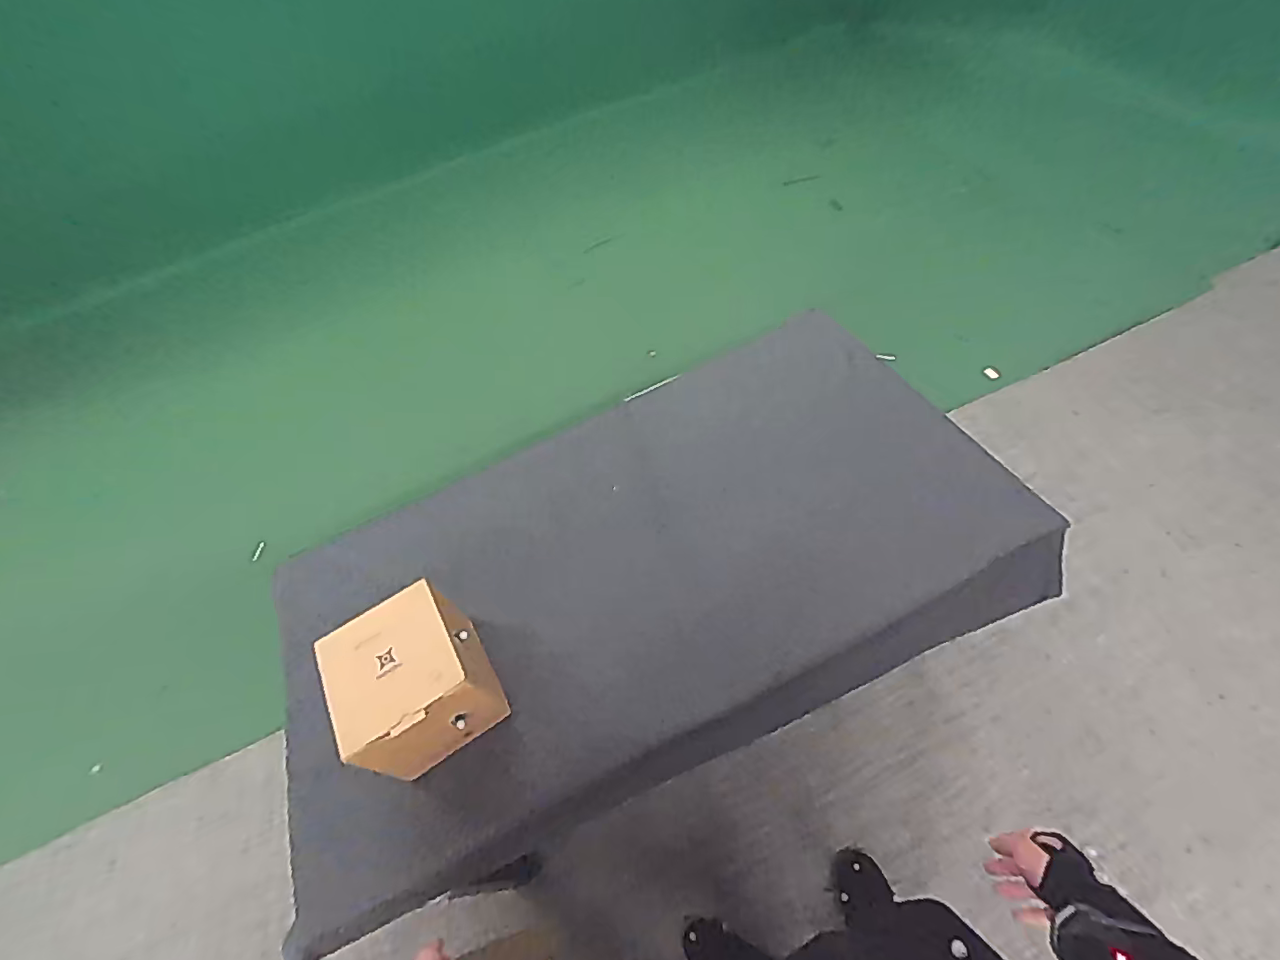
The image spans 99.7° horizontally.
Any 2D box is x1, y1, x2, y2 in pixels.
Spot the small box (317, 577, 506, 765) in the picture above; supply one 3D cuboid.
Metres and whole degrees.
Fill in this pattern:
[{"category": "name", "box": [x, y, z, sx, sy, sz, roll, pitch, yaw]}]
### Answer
[{"category": "small box", "box": [-0.315, 0.277, 0.767, 0.168, 0.176, 0.179, -31, 54, -13]}]
